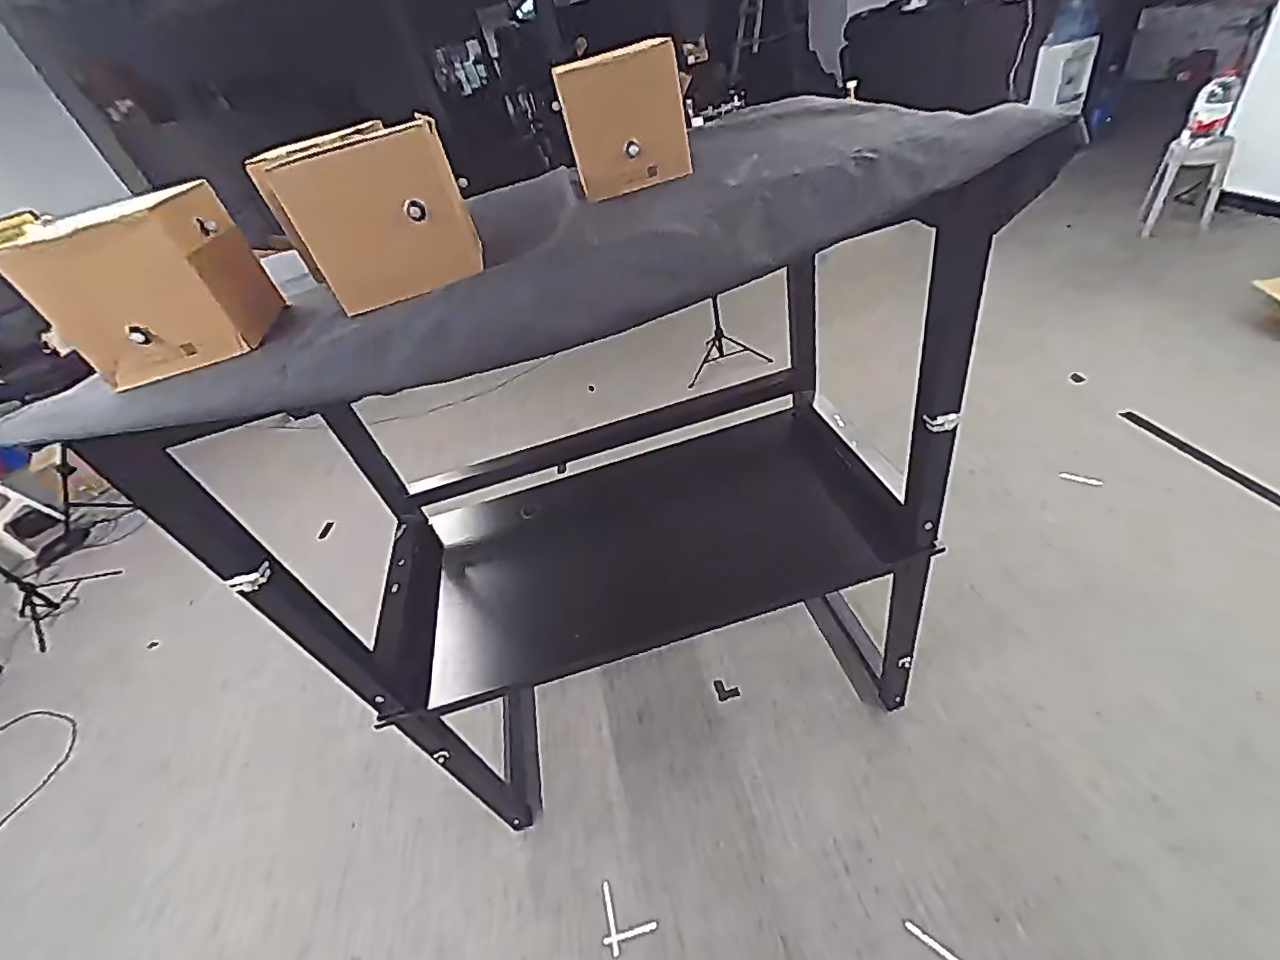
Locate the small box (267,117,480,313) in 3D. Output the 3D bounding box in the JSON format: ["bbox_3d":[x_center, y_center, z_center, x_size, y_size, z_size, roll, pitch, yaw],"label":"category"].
[{"bbox_3d":[-0.312,-0.336,0.683,0.179,0.176,0.168,-18,38,-4],"label":"small box"}]

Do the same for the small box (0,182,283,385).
[{"bbox_3d":[-0.580,-0.241,0.663,0.168,0.176,0.179,-19,40,-4],"label":"small box"}]

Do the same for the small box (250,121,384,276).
[{"bbox_3d":[-0.456,-0.440,0.854,0.168,0.176,0.179,-17,39,-1],"label":"small box"}]

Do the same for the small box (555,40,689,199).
[{"bbox_3d":[-0.029,-0.562,0.849,0.168,0.176,0.179,-16,40,1],"label":"small box"}]
